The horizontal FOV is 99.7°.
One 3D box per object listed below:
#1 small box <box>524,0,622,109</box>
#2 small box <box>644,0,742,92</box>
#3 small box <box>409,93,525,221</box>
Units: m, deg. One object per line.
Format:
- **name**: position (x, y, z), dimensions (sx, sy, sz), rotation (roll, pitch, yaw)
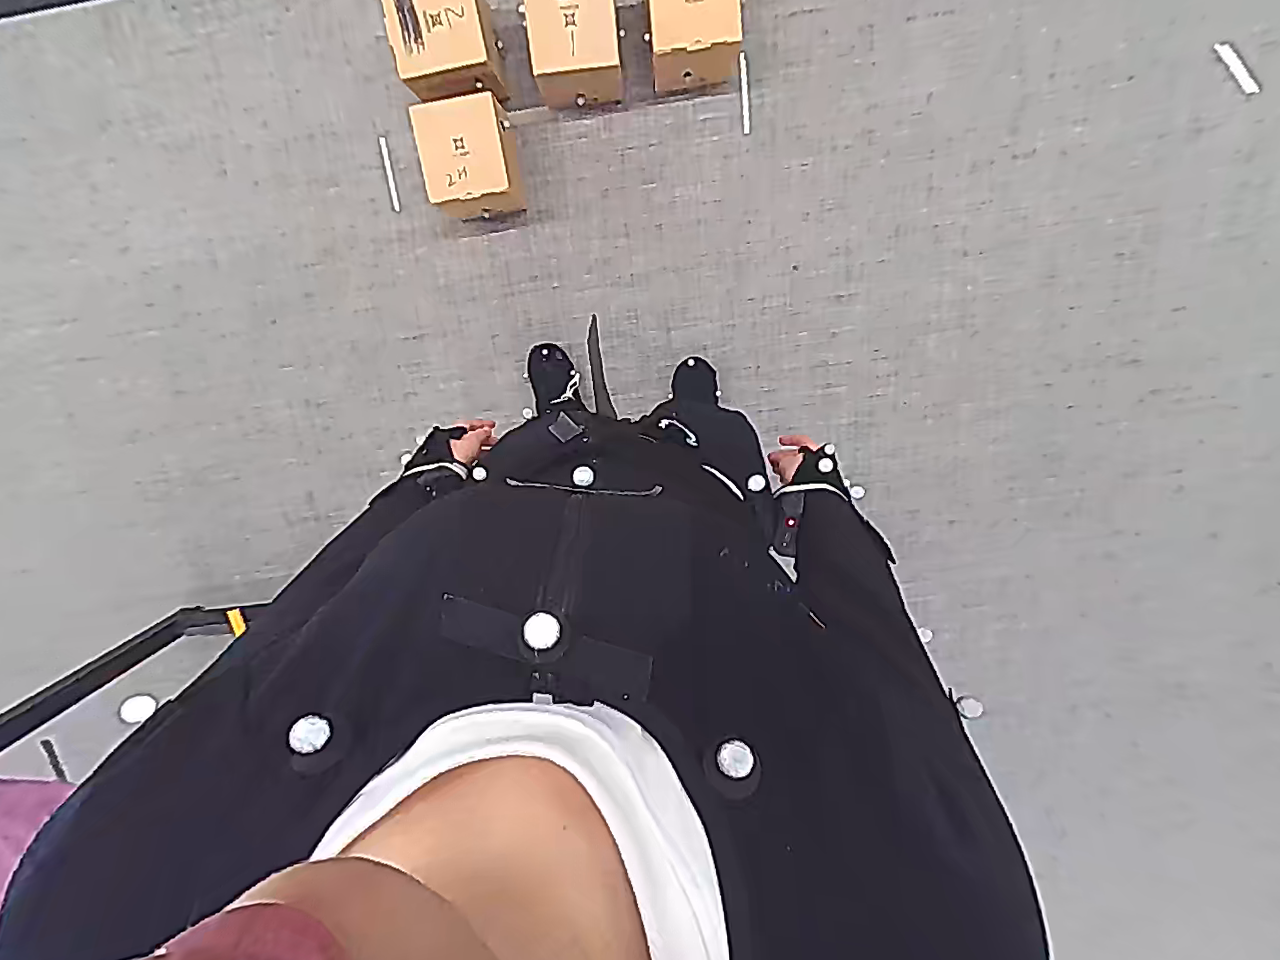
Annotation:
- **small box**: position (-0.126, -0.866, 1.062), dimensions (0.168, 0.176, 0.179), rotation (-4, 106, 2)
- **small box**: position (0.098, -0.899, 1.052), dimensions (0.168, 0.176, 0.179), rotation (-6, 105, 2)
- **small box**: position (-0.348, -0.659, 1.121), dimensions (0.168, 0.176, 0.179), rotation (-7, 105, 4)
